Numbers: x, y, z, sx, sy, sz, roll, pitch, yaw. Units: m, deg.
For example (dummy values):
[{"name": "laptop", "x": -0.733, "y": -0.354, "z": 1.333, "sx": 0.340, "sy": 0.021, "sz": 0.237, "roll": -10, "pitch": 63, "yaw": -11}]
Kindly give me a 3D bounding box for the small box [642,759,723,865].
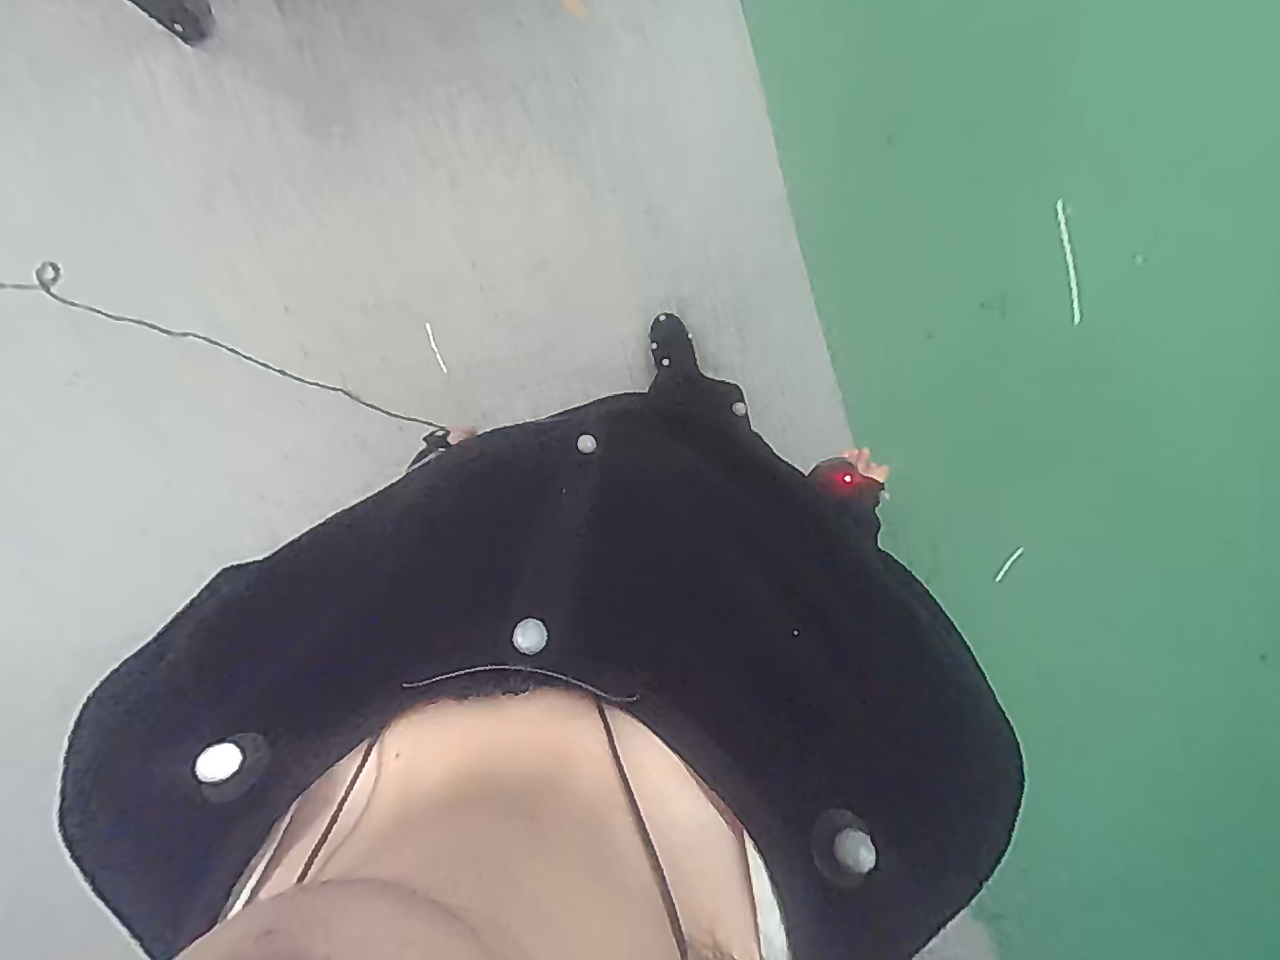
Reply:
[{"name": "small box", "x": 0.117, "y": 0.957, "z": 1.574, "sx": 0.179, "sy": 0.176, "sz": 0.168, "roll": -31, "pitch": 99, "yaw": 7}]
